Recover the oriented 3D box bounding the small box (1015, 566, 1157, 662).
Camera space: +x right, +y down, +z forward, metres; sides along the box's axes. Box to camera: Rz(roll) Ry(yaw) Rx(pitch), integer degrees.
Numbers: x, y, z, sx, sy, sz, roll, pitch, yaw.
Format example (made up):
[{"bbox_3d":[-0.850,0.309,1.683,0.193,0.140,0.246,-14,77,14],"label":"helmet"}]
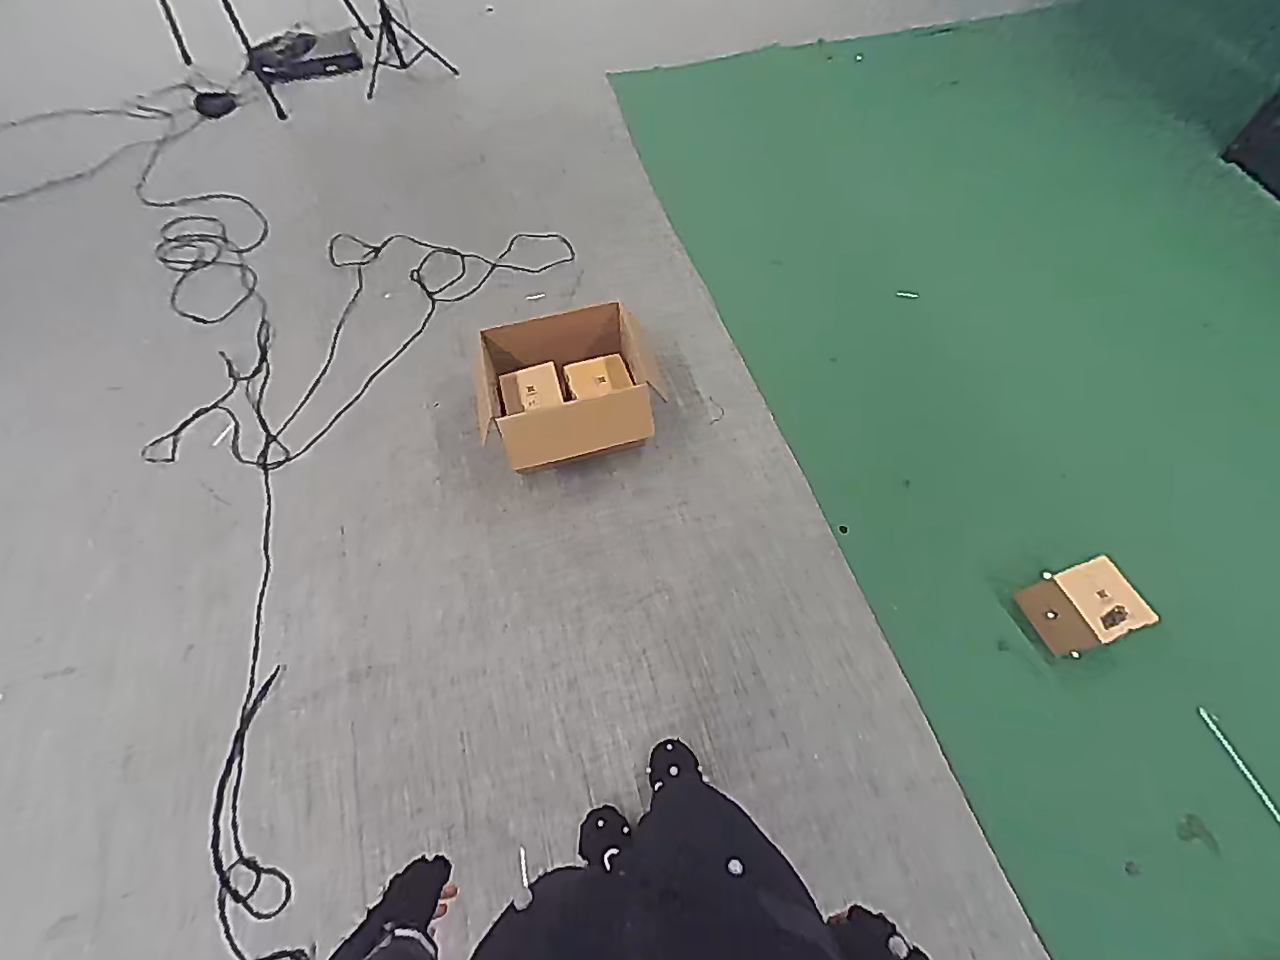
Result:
[{"bbox_3d":[1.100,0.342,1.351,0.168,0.176,0.179,-17,62,-9],"label":"small box"}]
